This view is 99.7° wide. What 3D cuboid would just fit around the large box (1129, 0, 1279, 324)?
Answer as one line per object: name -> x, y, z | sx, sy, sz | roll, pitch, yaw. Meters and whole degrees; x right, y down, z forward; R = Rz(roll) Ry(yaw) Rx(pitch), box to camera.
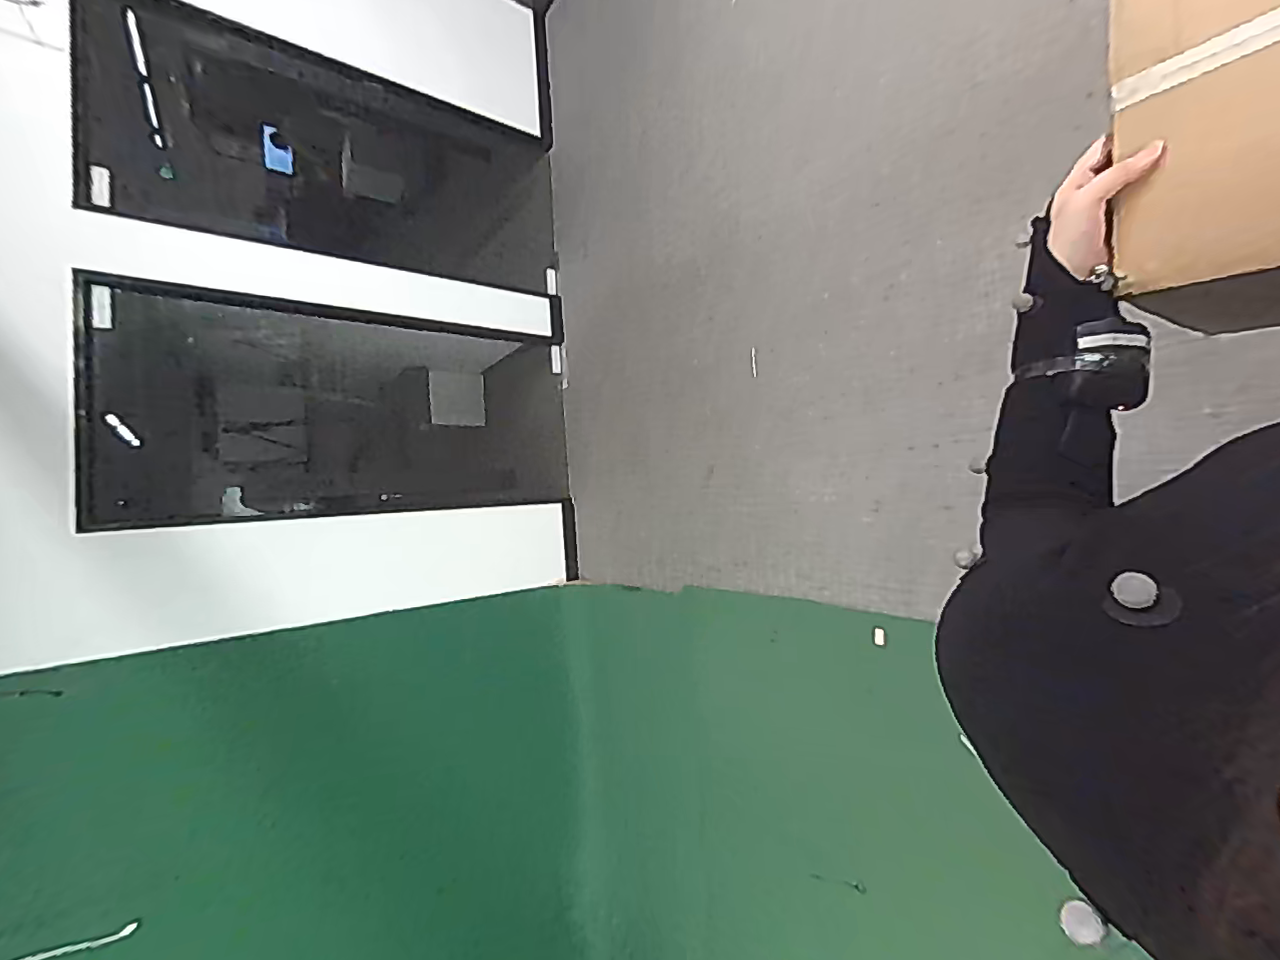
large box -> 0.633, -0.311, 0.353 | 0.408, 0.320, 0.320 | 2, 94, 57
